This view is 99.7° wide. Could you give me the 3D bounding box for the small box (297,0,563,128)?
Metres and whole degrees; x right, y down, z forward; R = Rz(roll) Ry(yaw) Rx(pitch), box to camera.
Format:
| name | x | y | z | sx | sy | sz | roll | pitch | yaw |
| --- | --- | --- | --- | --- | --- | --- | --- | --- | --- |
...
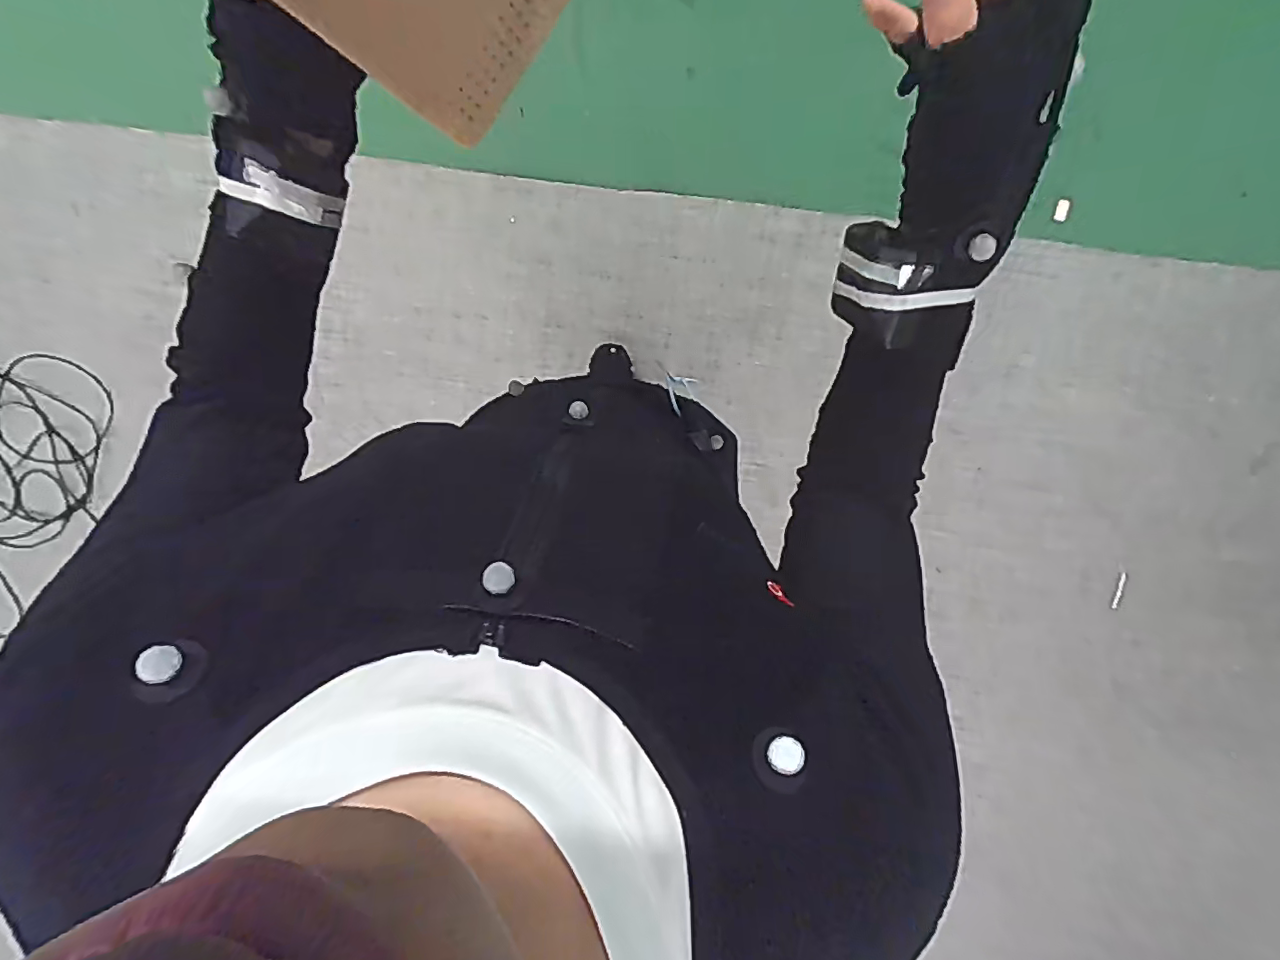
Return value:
| name | x | y | z | sx | sy | sz | roll | pitch | yaw |
| --- | --- | --- | --- | --- | --- | --- | --- | --- | --- |
| small box | -0.100 | -0.270 | 0.169 | 0.168 | 0.176 | 0.179 | 46 | 107 | 8 |
